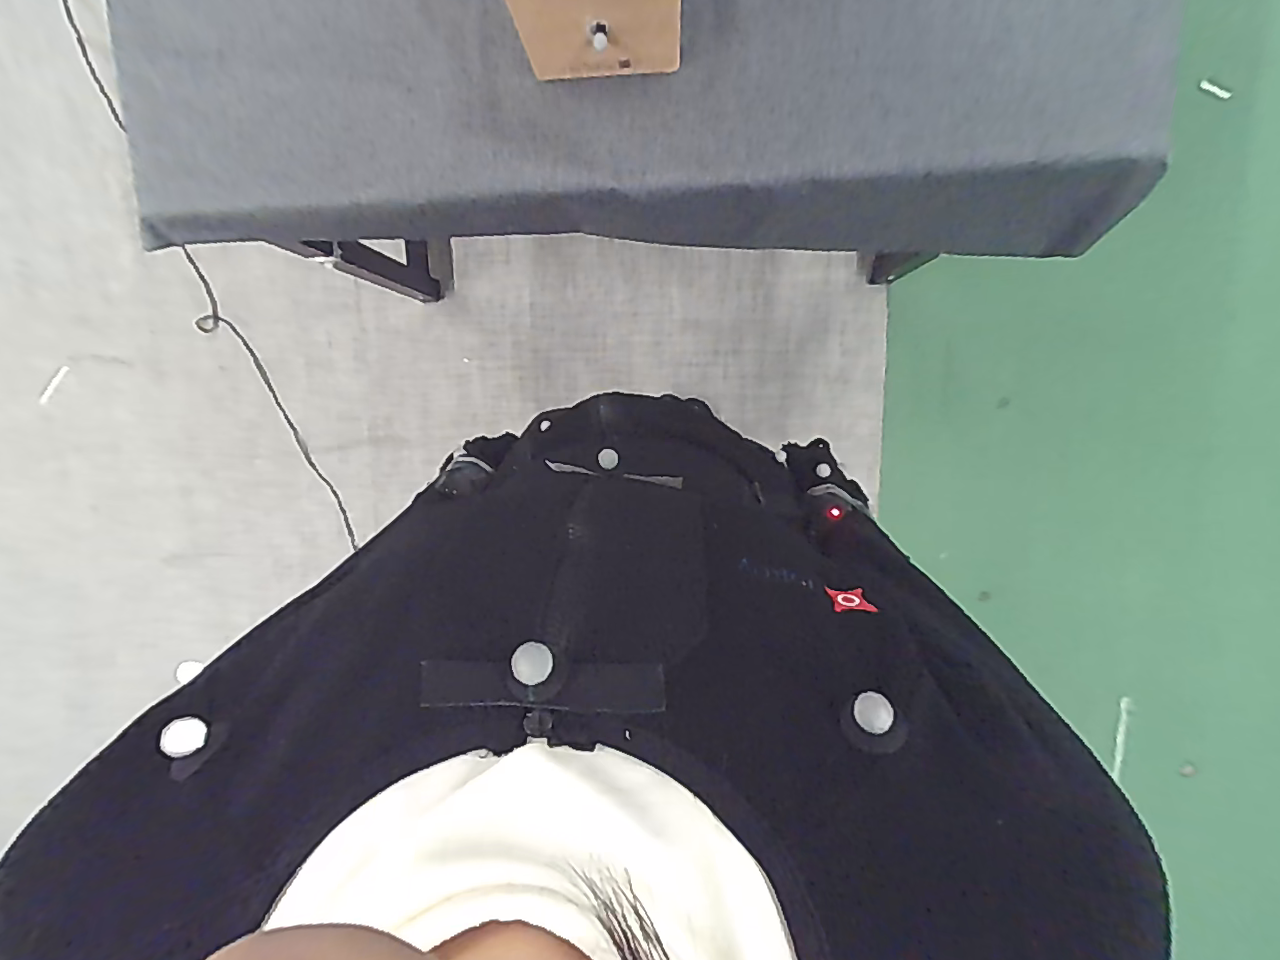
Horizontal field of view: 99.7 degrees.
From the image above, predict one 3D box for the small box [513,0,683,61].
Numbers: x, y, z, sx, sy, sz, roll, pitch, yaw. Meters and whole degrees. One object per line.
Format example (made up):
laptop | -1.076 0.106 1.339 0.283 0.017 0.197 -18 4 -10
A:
small box | -0.042 -0.545 0.525 0.168 0.176 0.179 -1 99 5
